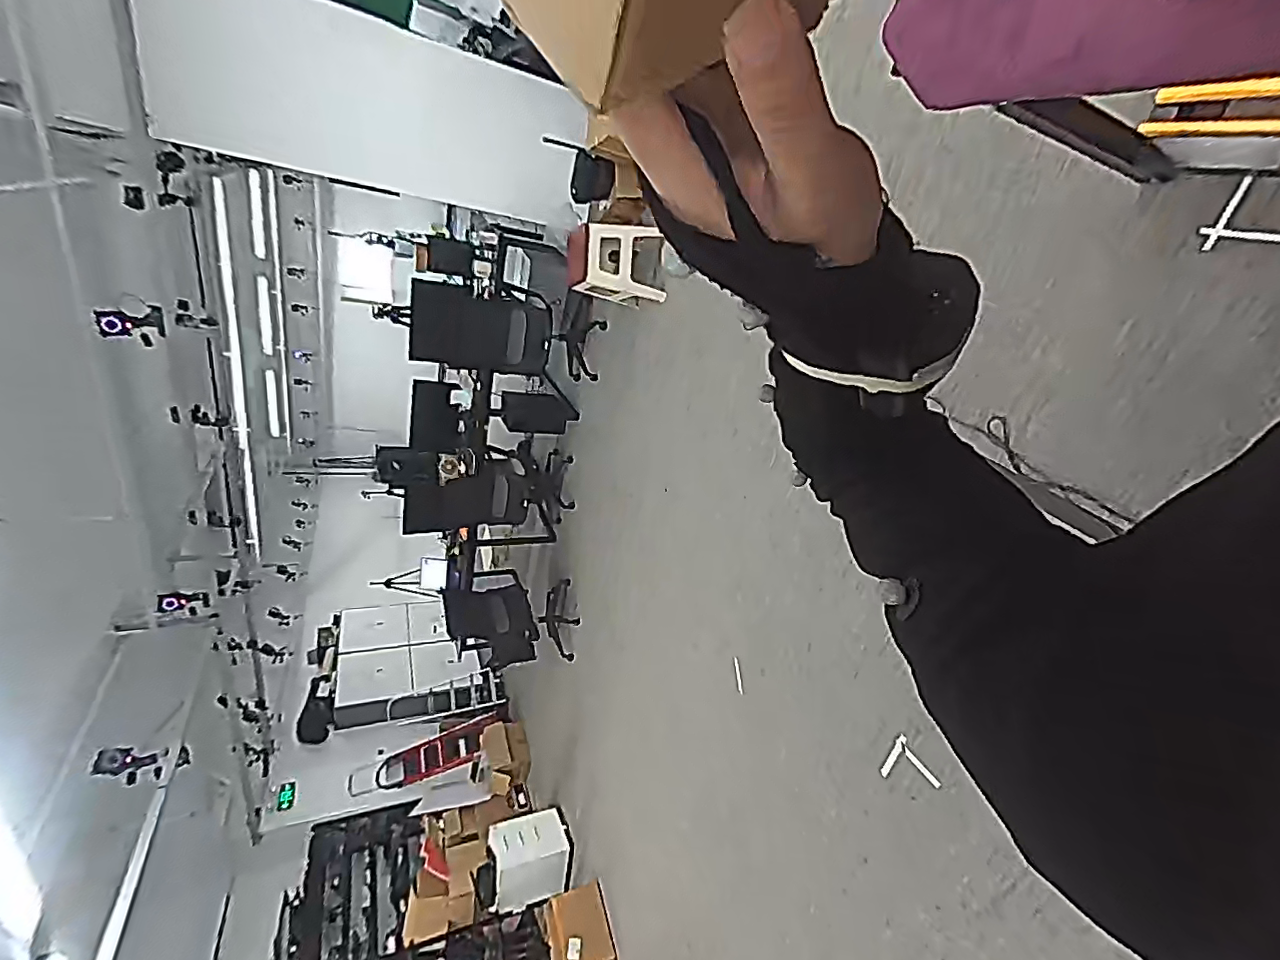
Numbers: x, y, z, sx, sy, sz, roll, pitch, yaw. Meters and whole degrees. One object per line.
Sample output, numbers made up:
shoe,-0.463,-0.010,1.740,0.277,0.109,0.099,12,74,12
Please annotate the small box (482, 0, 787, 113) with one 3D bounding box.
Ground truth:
small box,0.017,-0.207,0.062,0.168,0.176,0.179,50,161,-2
